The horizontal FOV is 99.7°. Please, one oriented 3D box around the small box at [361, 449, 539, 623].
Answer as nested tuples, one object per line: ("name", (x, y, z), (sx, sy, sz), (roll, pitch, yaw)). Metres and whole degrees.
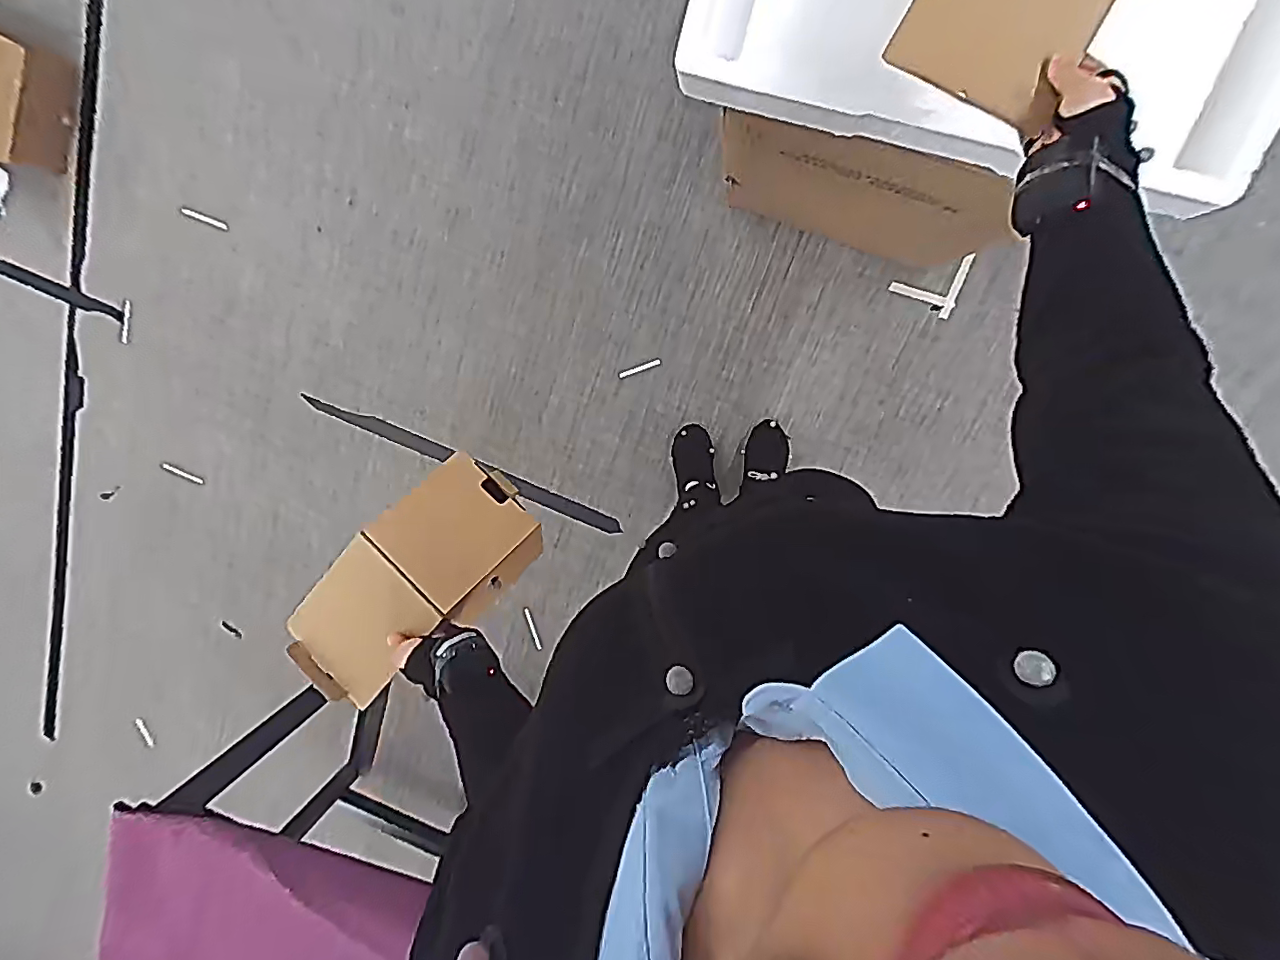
("small box", (-0.263, 0.092, 0.800), (0.168, 0.176, 0.179), (43, 70, 8))
